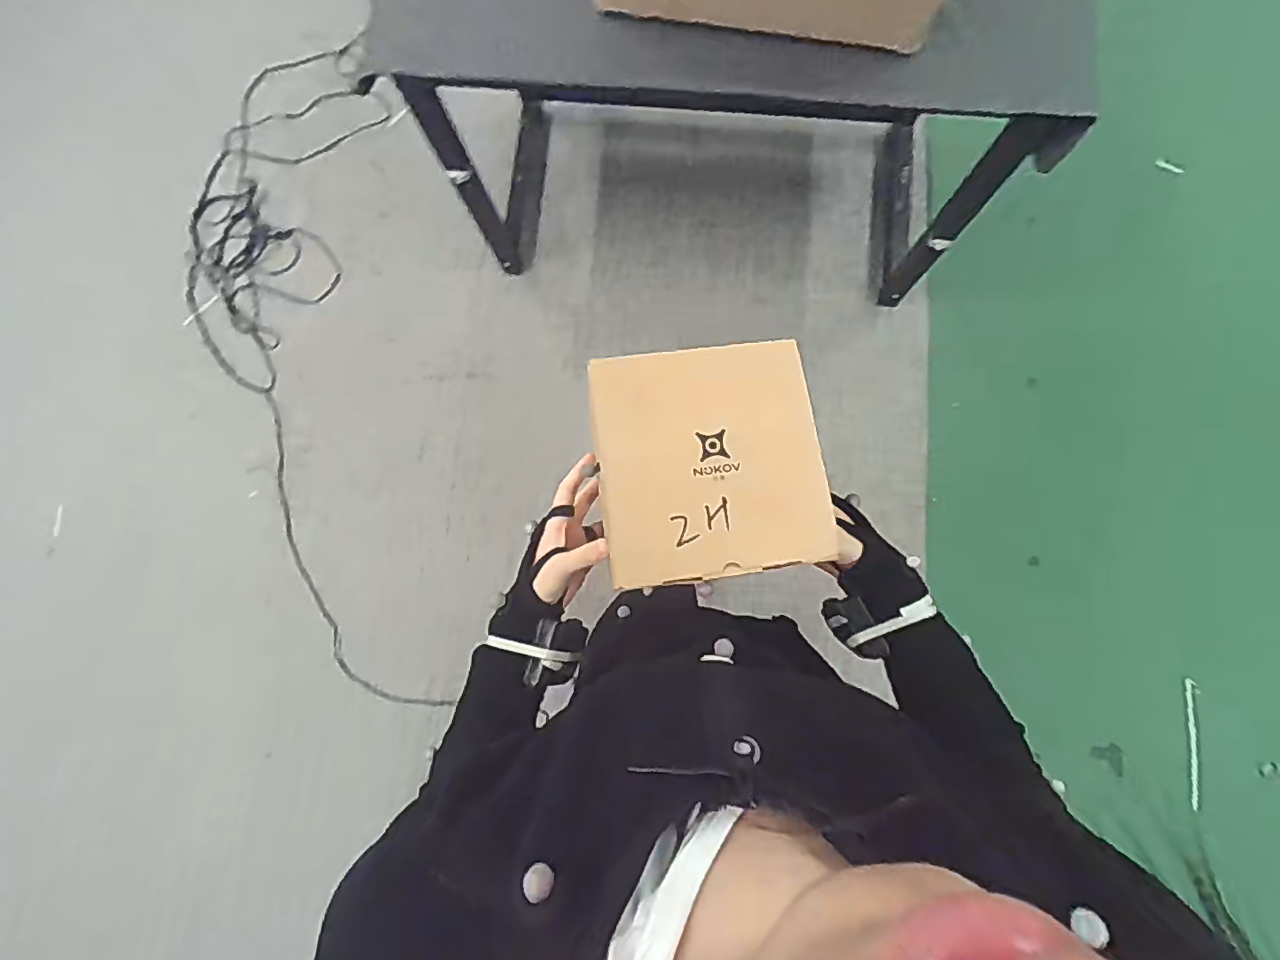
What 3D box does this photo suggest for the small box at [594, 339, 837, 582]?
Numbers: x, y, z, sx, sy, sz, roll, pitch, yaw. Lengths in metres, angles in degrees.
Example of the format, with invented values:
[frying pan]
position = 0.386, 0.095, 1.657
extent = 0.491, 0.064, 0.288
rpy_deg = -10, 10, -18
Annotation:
[small box]
position = 0.048, -0.006, 0.485
extent = 0.168, 0.176, 0.179
rpy_deg = -7, 80, -6
